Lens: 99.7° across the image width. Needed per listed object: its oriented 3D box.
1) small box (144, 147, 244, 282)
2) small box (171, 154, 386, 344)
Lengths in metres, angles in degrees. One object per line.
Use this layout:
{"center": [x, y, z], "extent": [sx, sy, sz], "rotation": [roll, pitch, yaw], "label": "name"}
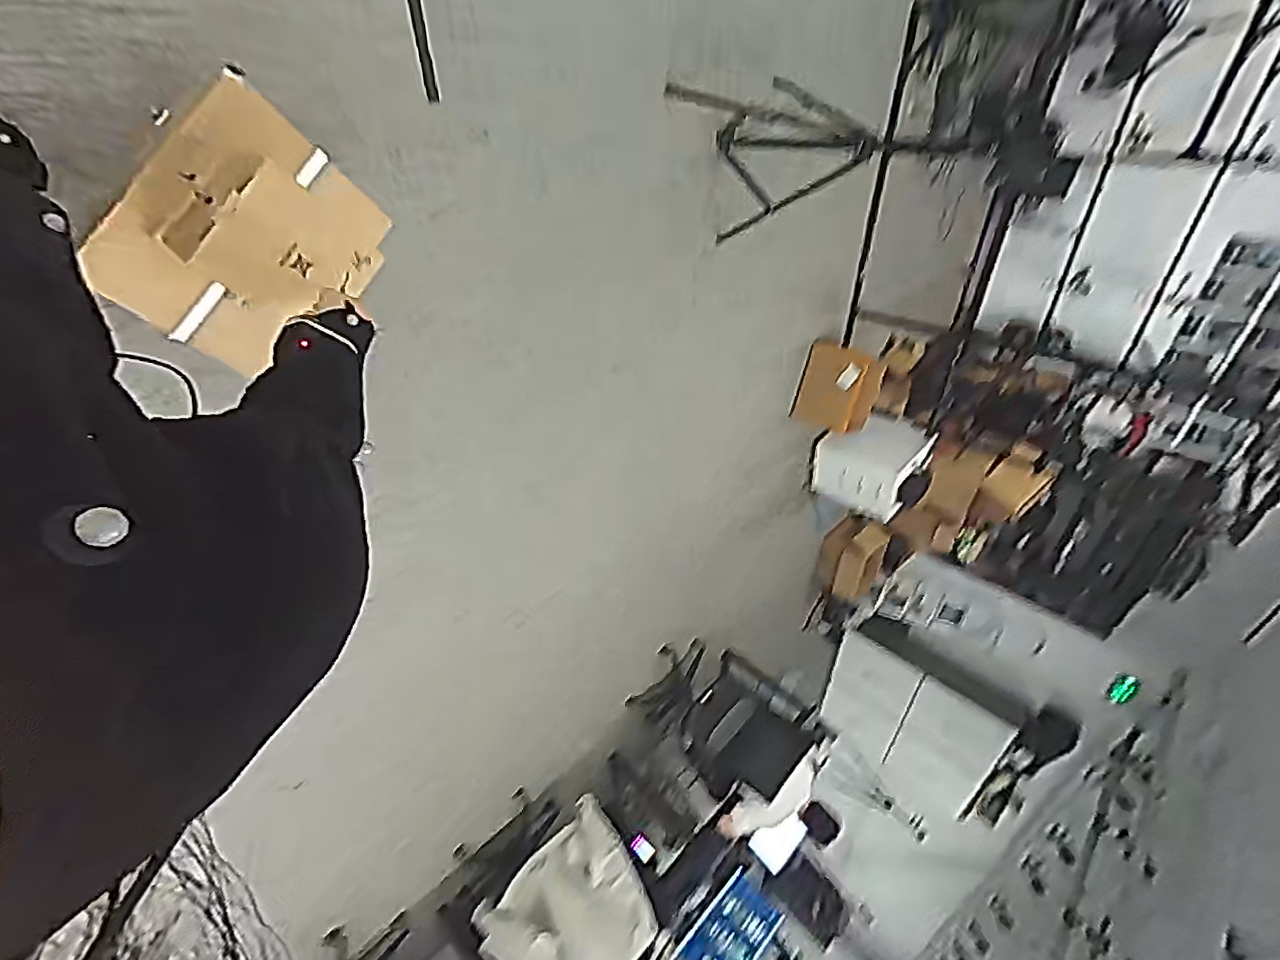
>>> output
{"center": [-0.629, -0.389, 0.853], "extent": [0.168, 0.176, 0.179], "rotation": [-56, 143, -6], "label": "small box"}
{"center": [-0.509, -0.323, 0.762], "extent": [0.168, 0.176, 0.179], "rotation": [-56, 142, -6], "label": "small box"}
